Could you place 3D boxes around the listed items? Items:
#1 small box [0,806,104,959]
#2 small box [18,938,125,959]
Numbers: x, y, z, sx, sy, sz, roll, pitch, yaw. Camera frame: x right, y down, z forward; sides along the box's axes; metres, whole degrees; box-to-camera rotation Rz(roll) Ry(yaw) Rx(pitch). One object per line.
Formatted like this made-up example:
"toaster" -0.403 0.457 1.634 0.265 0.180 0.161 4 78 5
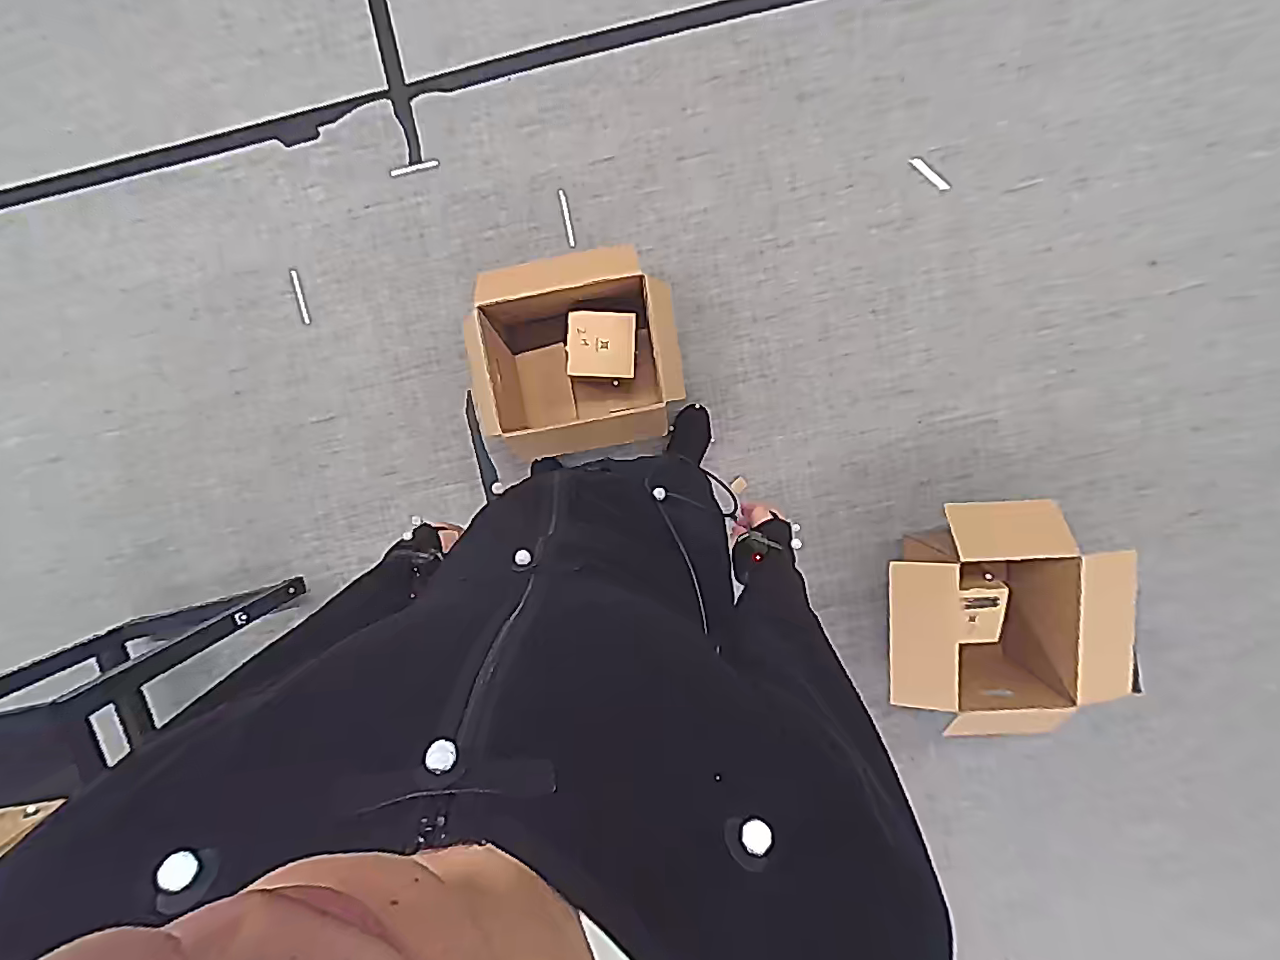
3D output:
"small box" -1.083 0.685 0.914 0.168 0.176 0.179 -10 99 3
"small box" -1.061 0.961 0.956 0.168 0.176 0.179 1 99 1
